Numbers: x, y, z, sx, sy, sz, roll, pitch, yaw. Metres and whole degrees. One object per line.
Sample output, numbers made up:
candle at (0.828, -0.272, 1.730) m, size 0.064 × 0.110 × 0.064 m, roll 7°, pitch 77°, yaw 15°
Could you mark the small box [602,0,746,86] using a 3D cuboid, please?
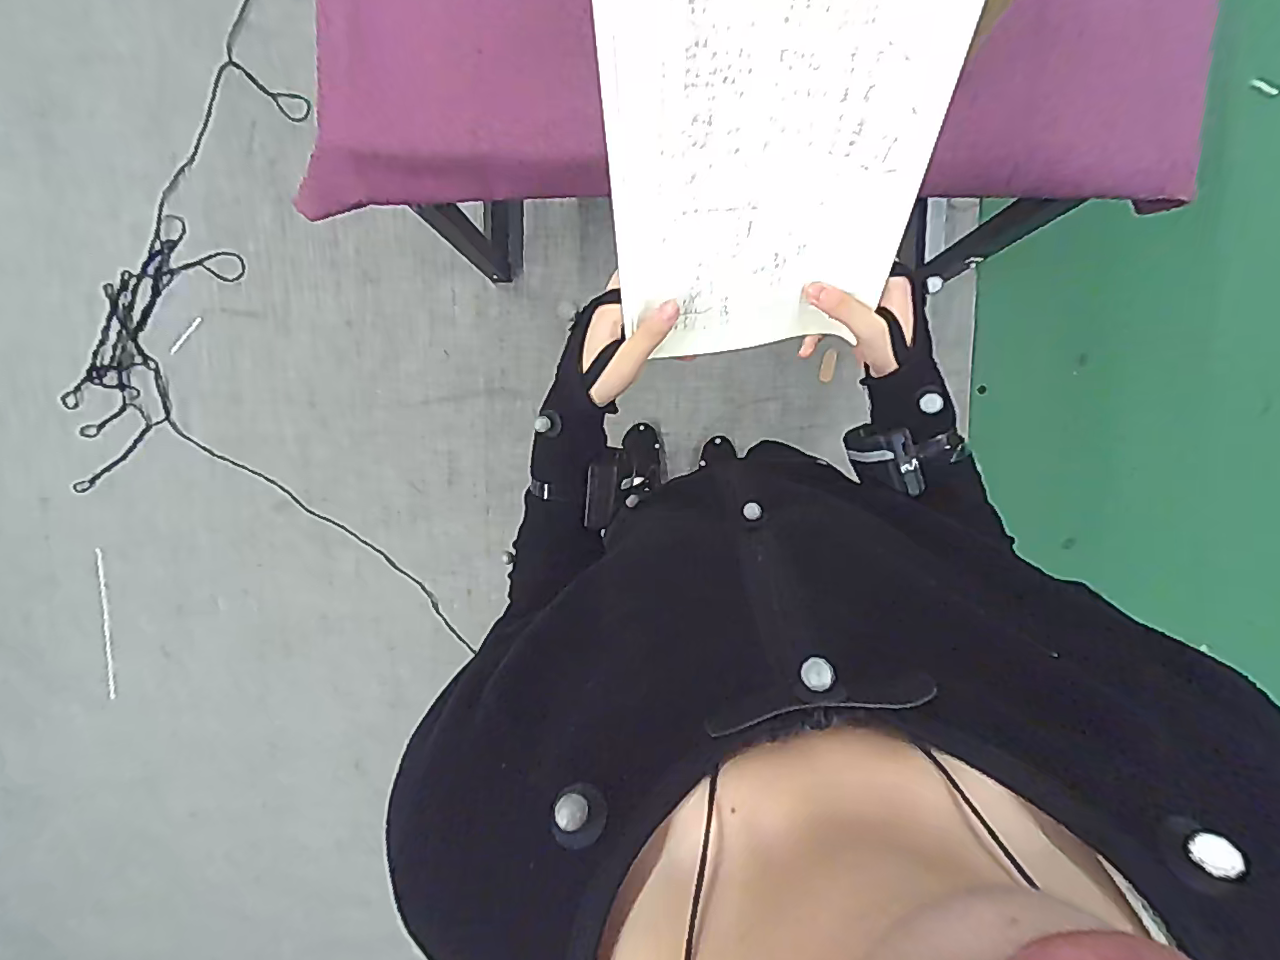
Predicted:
small box at (0.047, -0.624, 0.665) m, size 0.168 × 0.176 × 0.179 m, roll 3°, pitch 95°, yaw 2°
